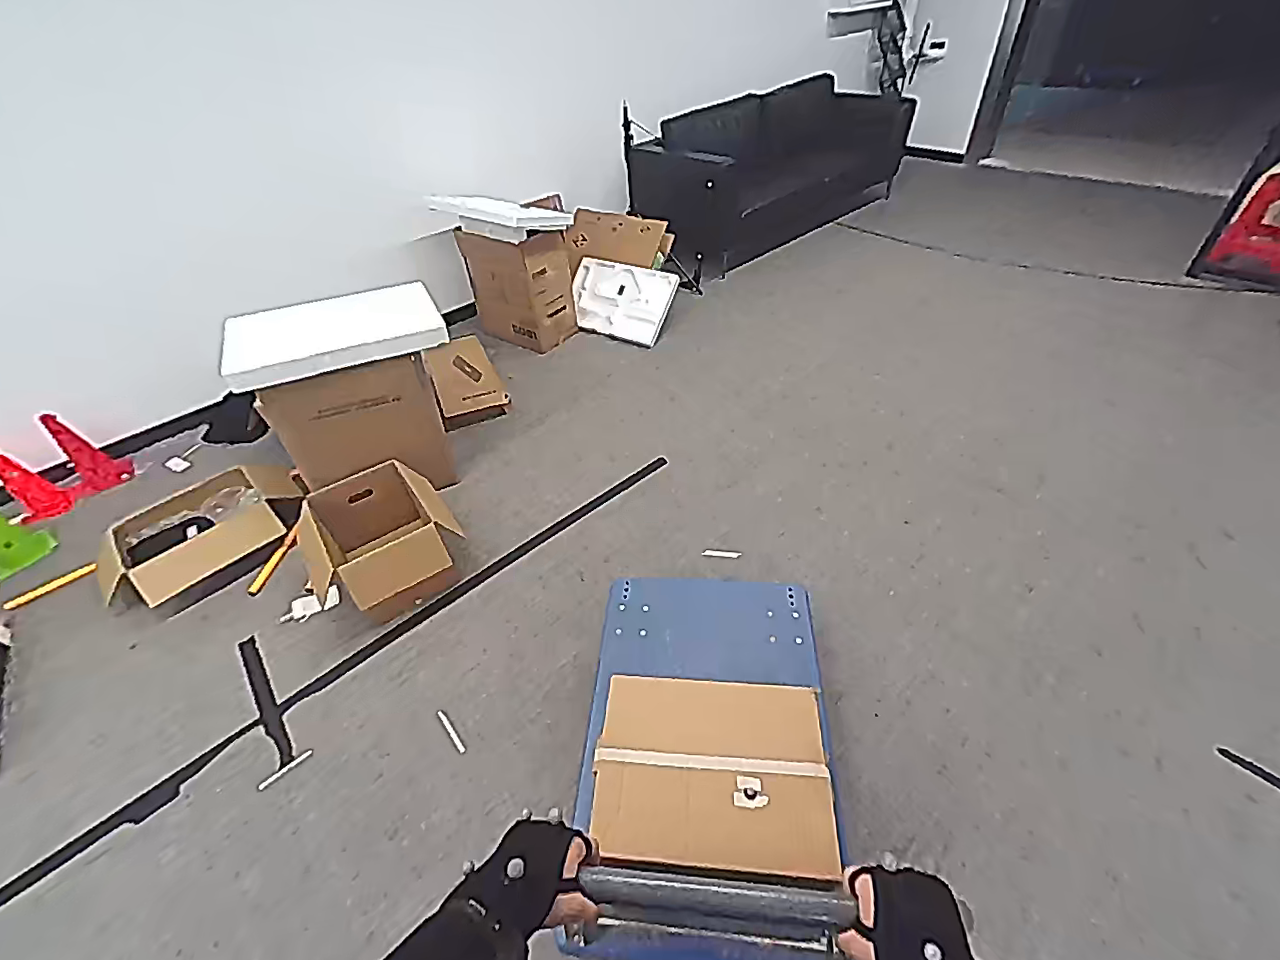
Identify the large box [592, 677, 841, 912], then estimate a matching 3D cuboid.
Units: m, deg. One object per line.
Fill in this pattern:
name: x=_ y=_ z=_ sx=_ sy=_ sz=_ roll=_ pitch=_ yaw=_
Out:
large box: x=0.134 y=0.617 z=1.067 sx=0.408 sy=0.320 sz=0.320 roll=2 pitch=43 yaw=5
